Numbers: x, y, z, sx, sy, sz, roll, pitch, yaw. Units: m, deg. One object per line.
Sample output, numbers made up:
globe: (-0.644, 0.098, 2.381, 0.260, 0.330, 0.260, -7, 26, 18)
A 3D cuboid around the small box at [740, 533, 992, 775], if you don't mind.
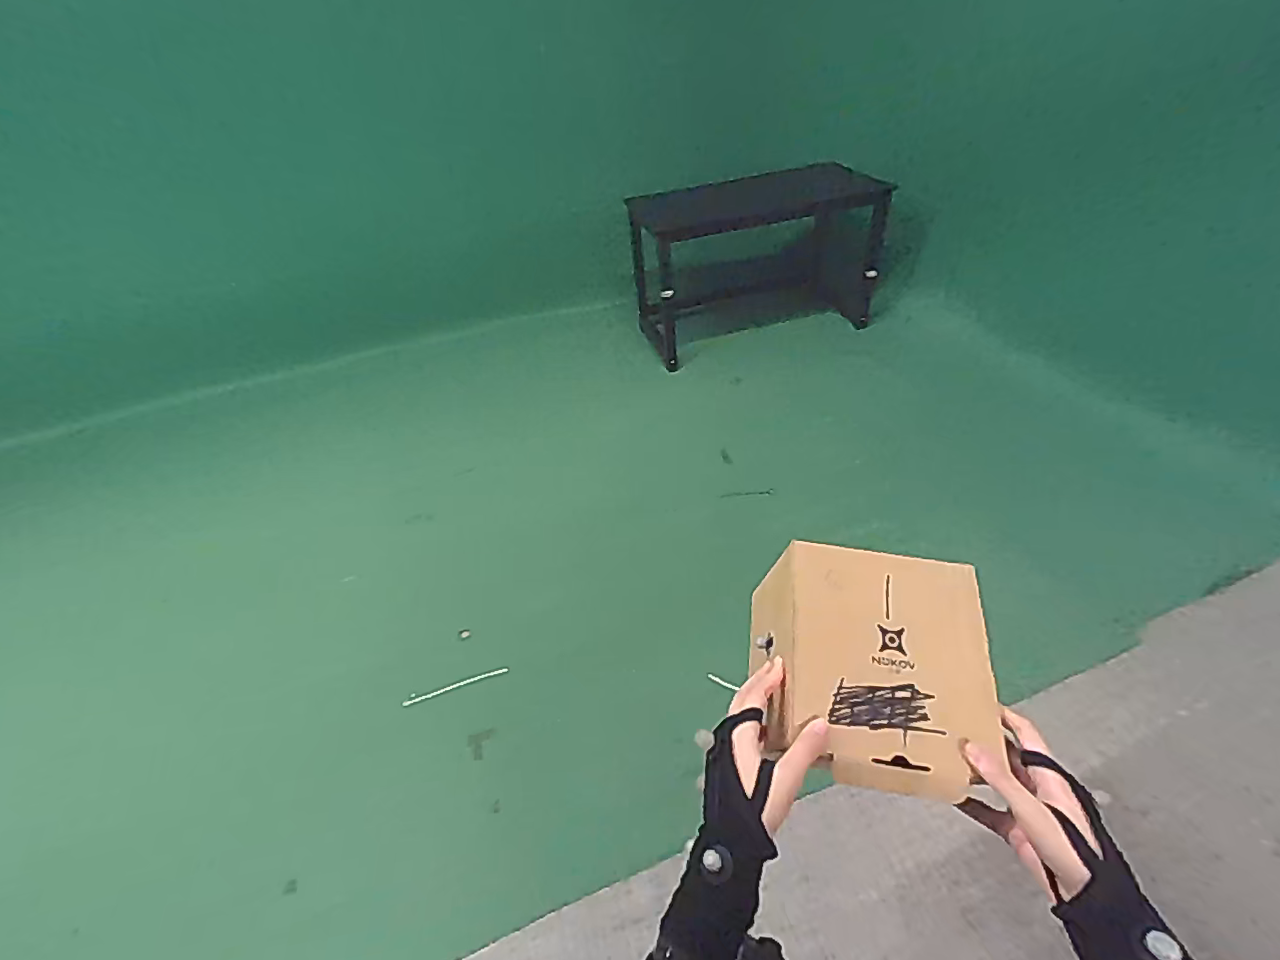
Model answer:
small box: (0.196, 0.173, 0.521, 0.168, 0.176, 0.179, 9, 61, 1)
